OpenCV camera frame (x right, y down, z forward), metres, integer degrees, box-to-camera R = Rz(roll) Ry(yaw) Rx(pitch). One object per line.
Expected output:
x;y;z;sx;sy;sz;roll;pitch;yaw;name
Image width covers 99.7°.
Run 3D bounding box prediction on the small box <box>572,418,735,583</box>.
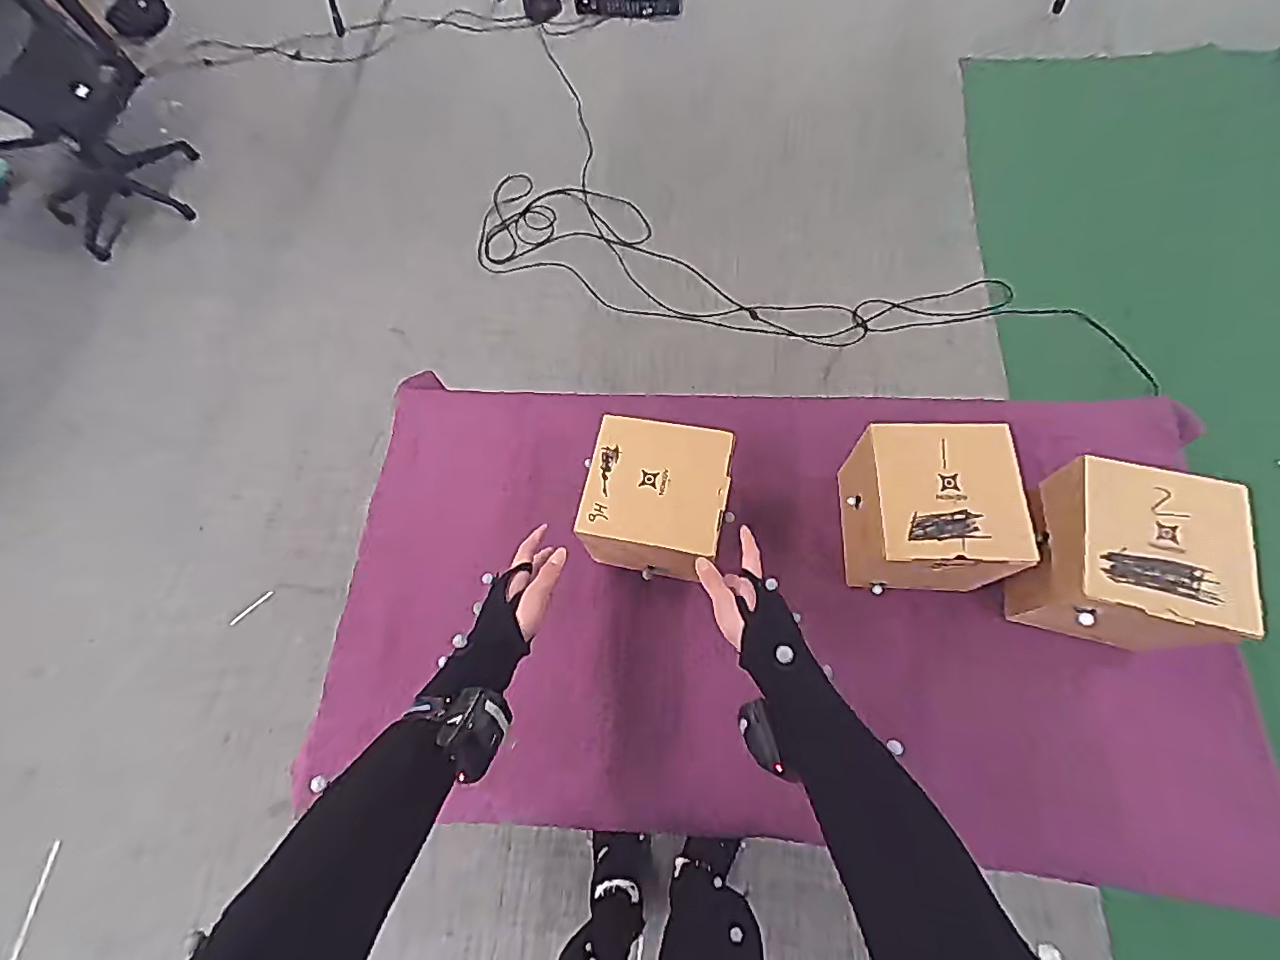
0.025;0.037;0.744;0.179;0.176;0.168;10;69;9;small box
